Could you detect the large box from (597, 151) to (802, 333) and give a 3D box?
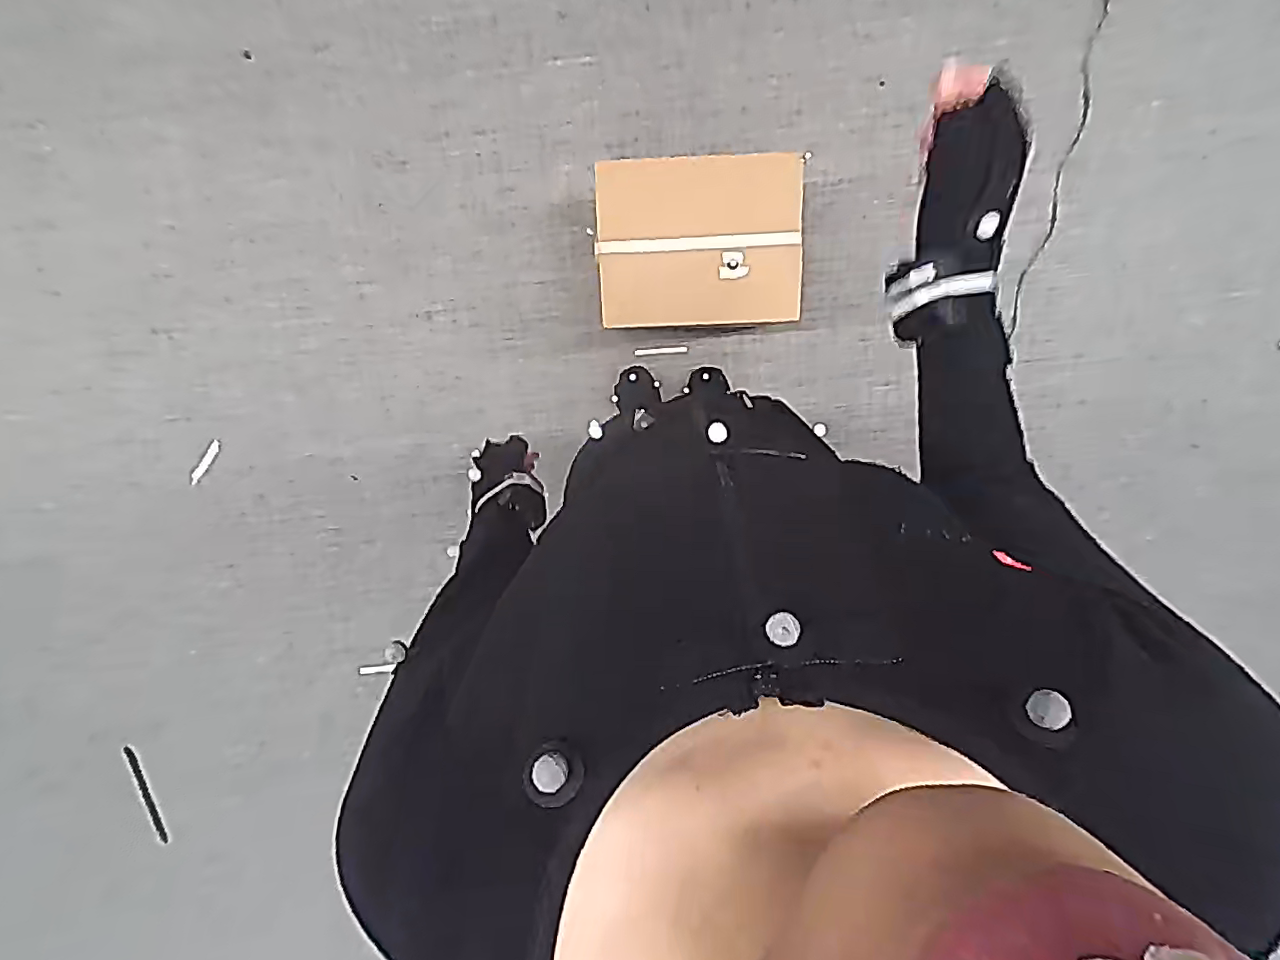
[{"bbox_3d":[0.123,-0.509,1.224,0.408,0.320,0.320,-2,104,2],"label":"large box"}]
